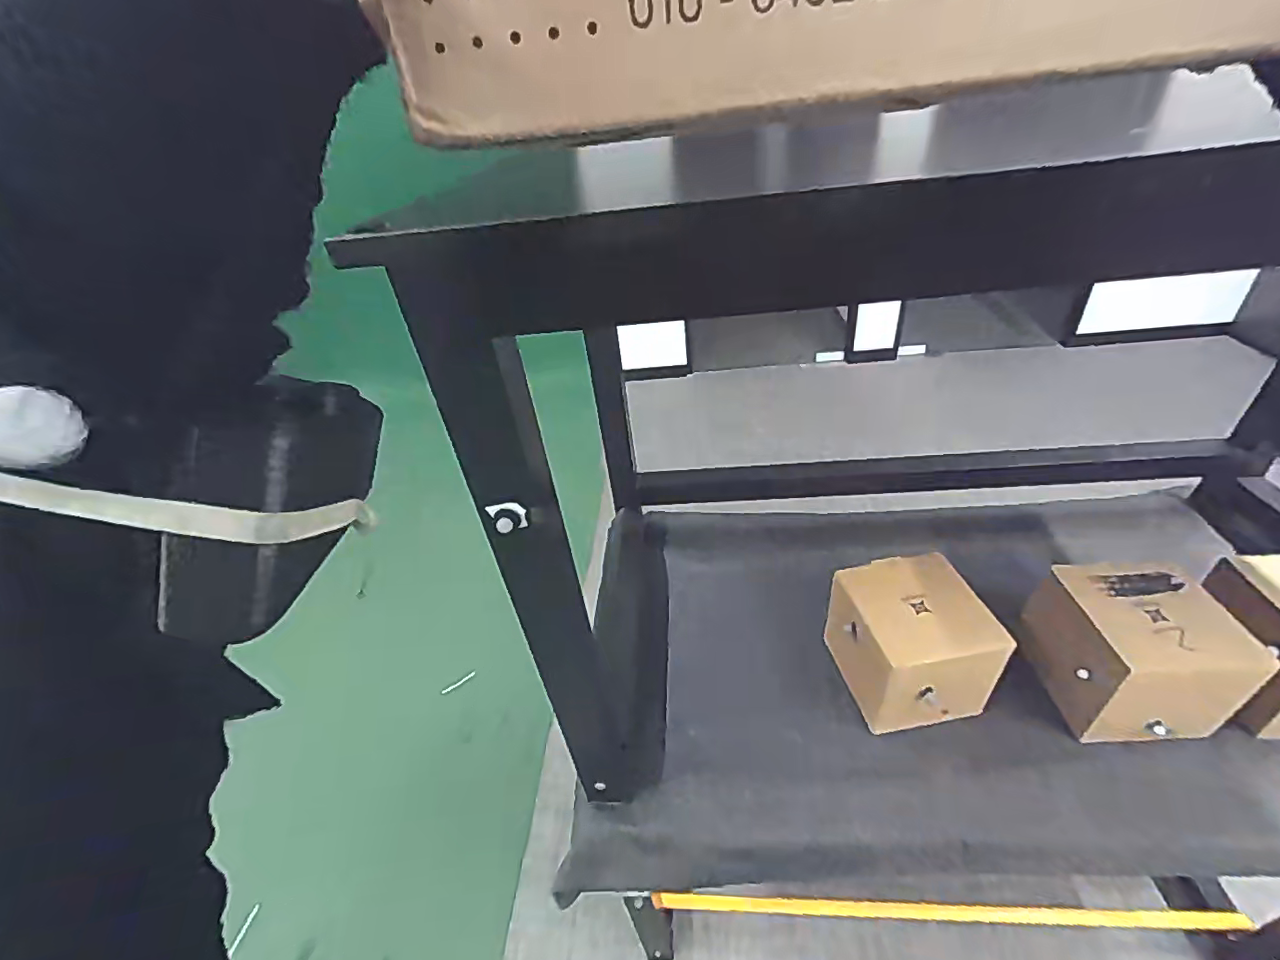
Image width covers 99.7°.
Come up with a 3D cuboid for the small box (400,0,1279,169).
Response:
[{"bbox_3d":[0.030,-0.177,0.127,0.168,0.176,0.179,-4,32,4],"label":"small box"}]

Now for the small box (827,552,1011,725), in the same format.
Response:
[{"bbox_3d":[0.391,0.237,0.795,0.168,0.176,0.179,-10,36,-2],"label":"small box"}]
